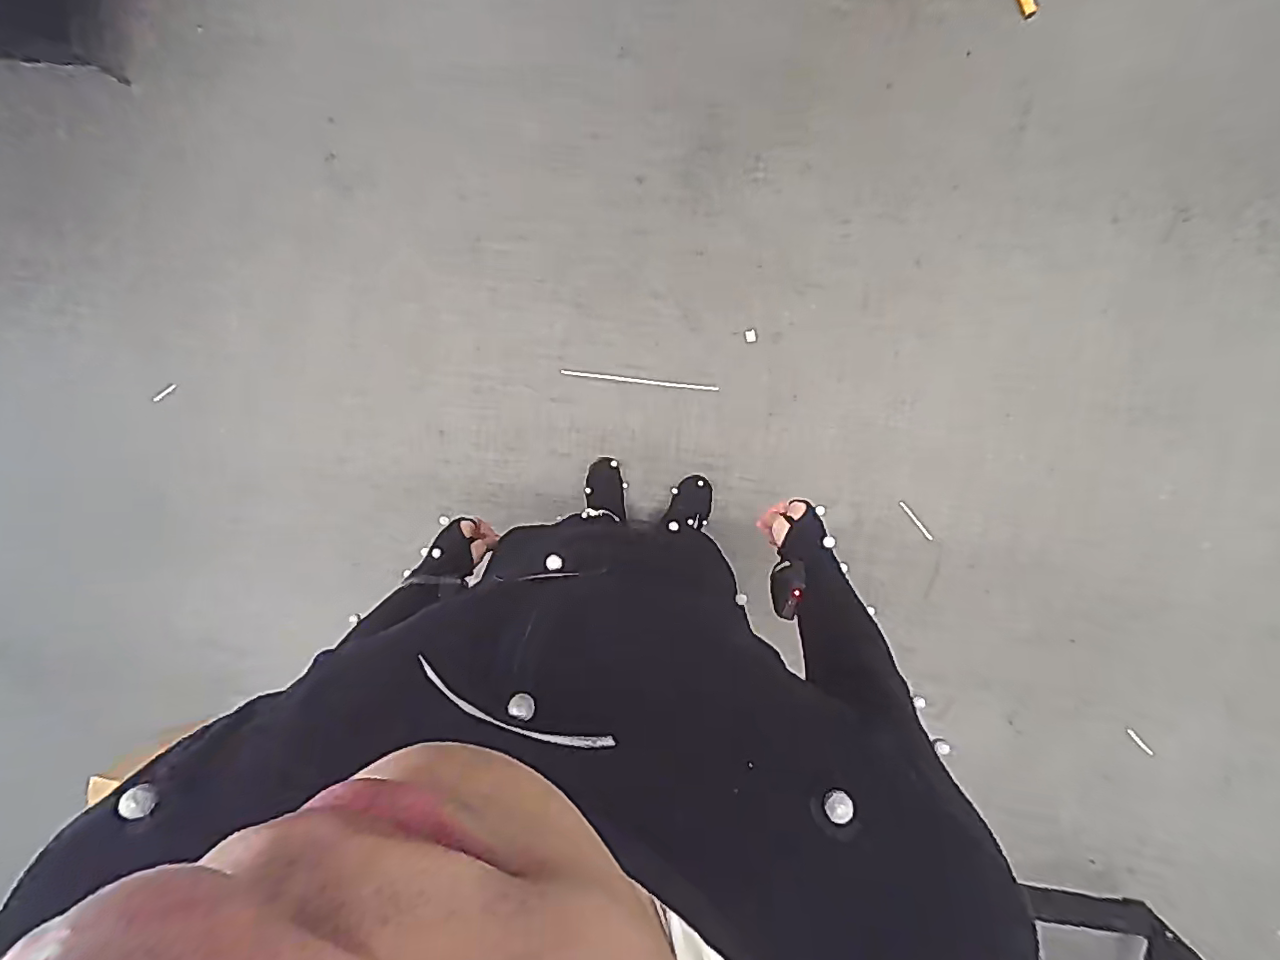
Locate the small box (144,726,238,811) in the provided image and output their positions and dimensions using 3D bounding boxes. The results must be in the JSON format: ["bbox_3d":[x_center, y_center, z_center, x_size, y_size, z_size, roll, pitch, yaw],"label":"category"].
[{"bbox_3d":[-1.423,0.906,1.713,0.179,0.176,0.168,9,92,4],"label":"small box"}]

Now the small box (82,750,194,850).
[{"bbox_3d":[-1.431,0.908,1.551,0.168,0.176,0.179,8,93,5],"label":"small box"}]
